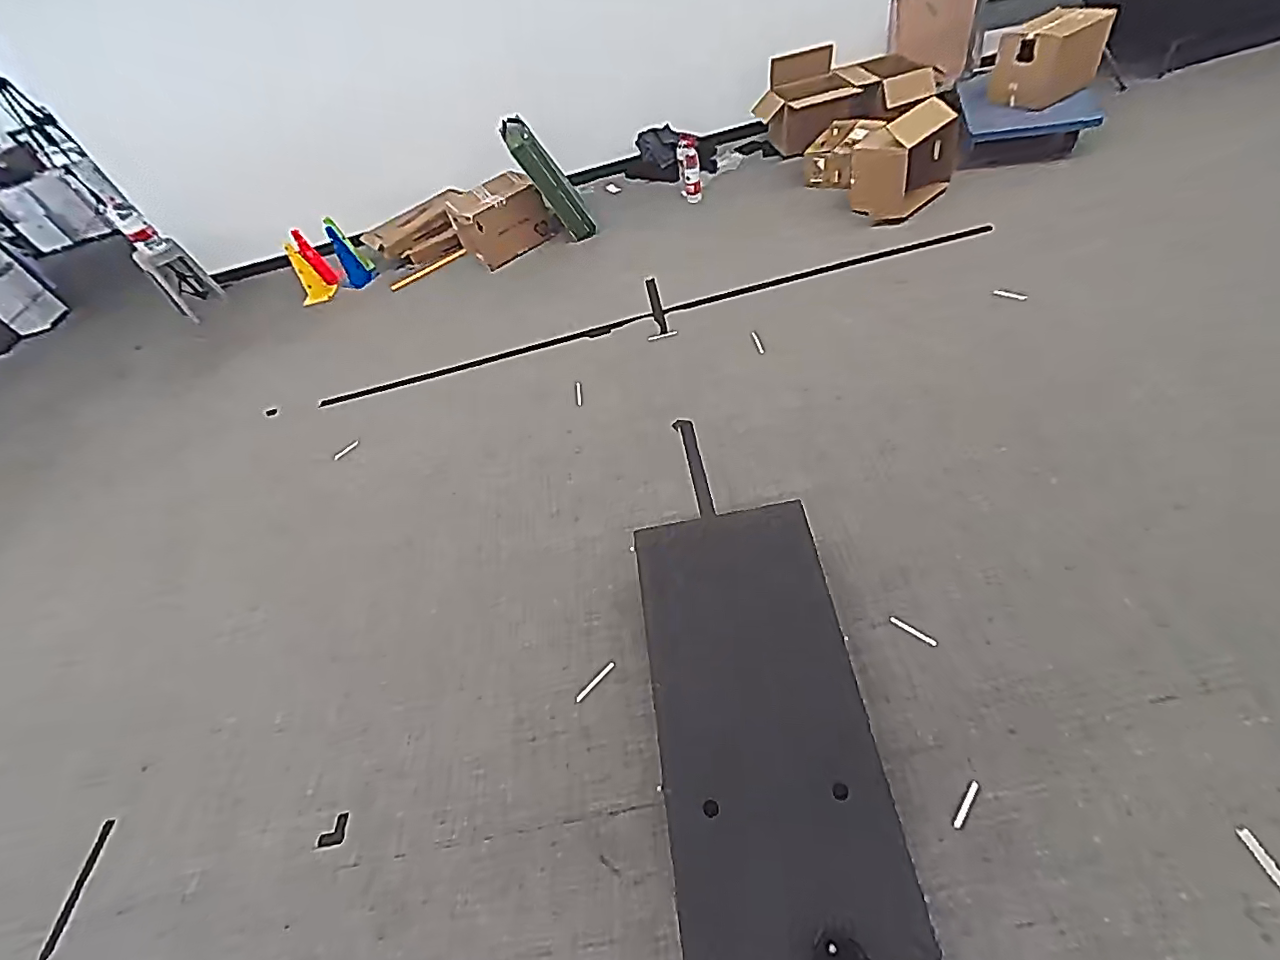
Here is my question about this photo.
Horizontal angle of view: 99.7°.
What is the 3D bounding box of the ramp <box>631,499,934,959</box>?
[{"bbox_3d":[0.271,0.525,1.305,0.509,0.206,0.991,-12,49,4],"label":"ramp"}]
